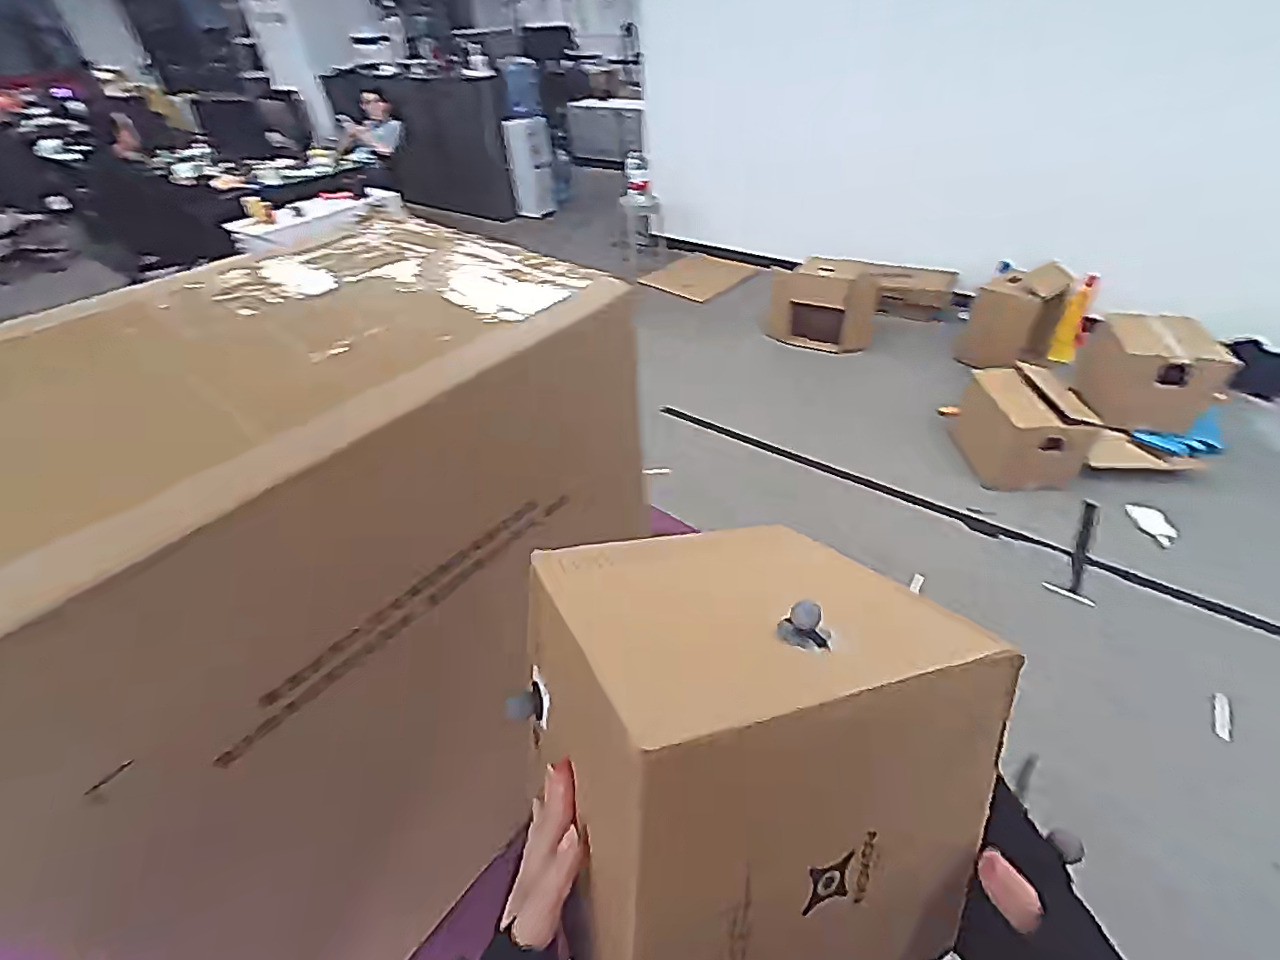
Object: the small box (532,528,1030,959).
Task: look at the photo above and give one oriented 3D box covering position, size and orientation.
[{"bbox_3d":[0.048,0.129,0.282,0.179,0.168,0.176,-3,14,-22],"label":"small box"}]
